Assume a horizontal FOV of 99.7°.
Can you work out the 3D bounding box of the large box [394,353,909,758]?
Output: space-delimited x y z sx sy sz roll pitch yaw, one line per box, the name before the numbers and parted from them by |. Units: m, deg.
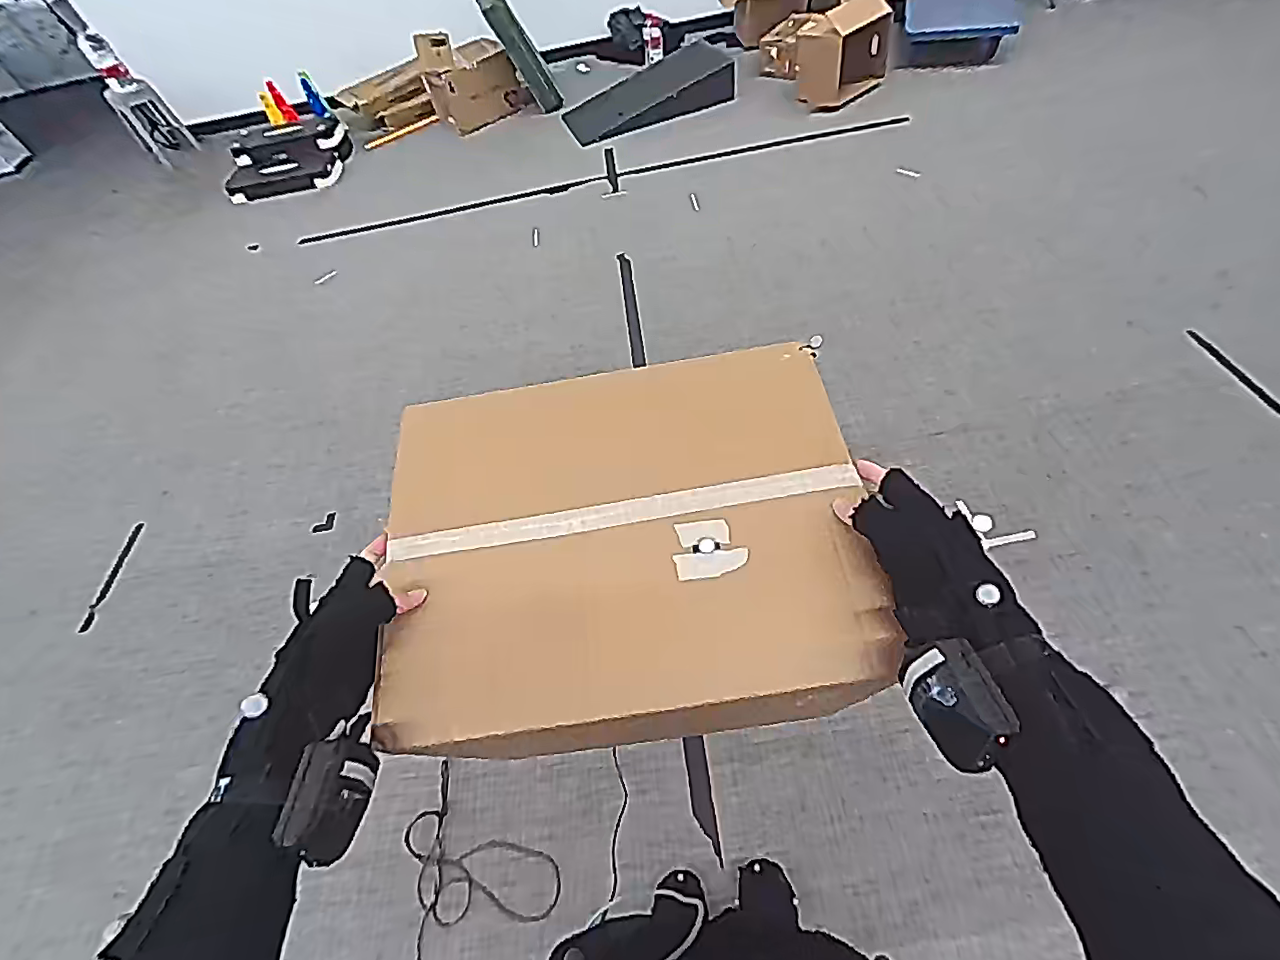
large box | 0.000 0.106 0.607 0.408 0.320 0.320 -9 61 1
